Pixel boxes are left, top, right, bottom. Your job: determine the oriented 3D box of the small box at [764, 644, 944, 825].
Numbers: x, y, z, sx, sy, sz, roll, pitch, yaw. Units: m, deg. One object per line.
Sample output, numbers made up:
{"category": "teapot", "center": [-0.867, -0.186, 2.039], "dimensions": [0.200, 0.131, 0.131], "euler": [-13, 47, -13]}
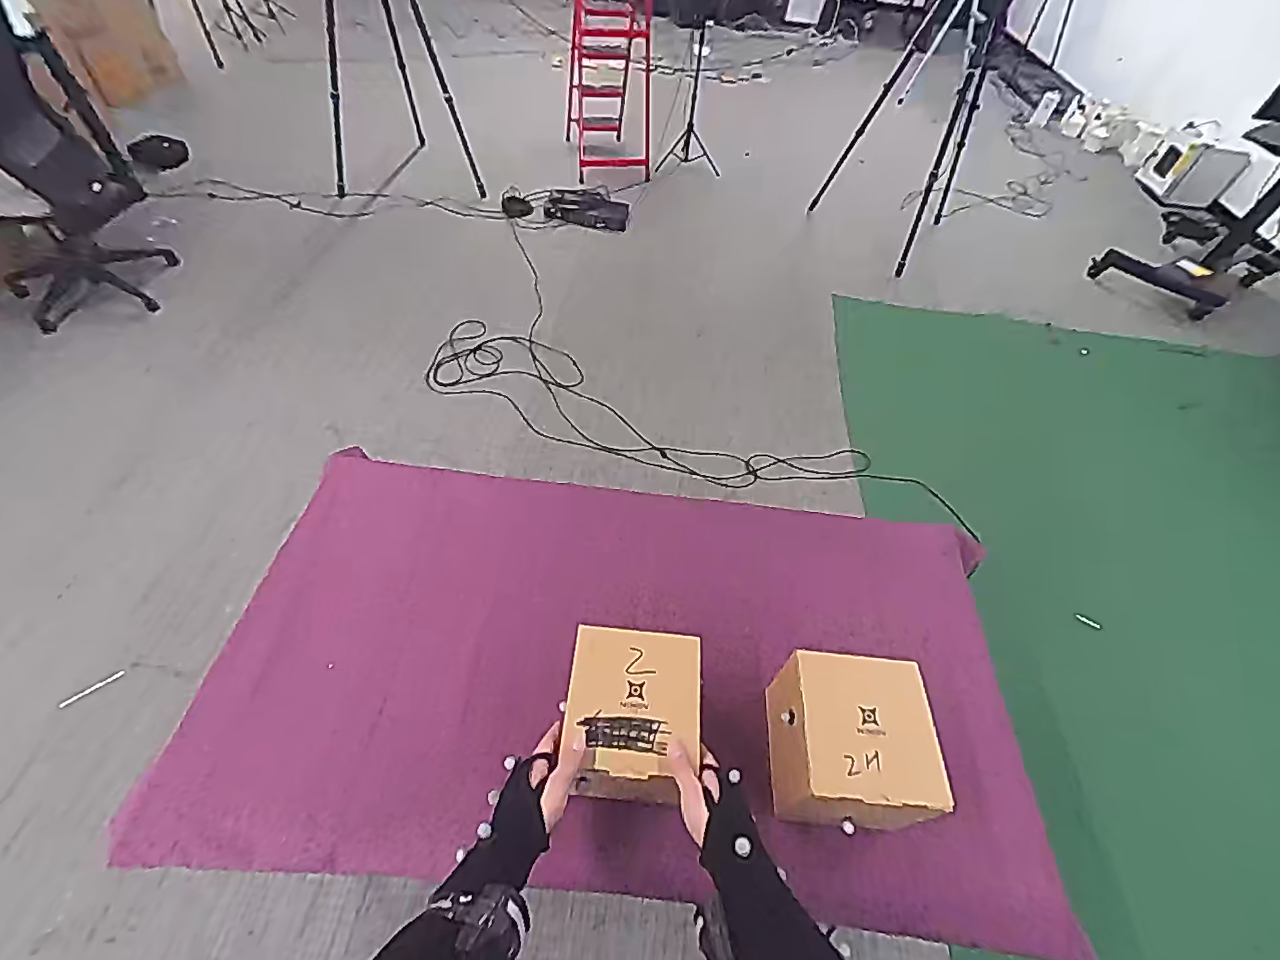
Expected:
{"category": "small box", "center": [0.271, 0.347, 0.735], "dimensions": [0.168, 0.176, 0.179], "euler": [7, 51, 0]}
